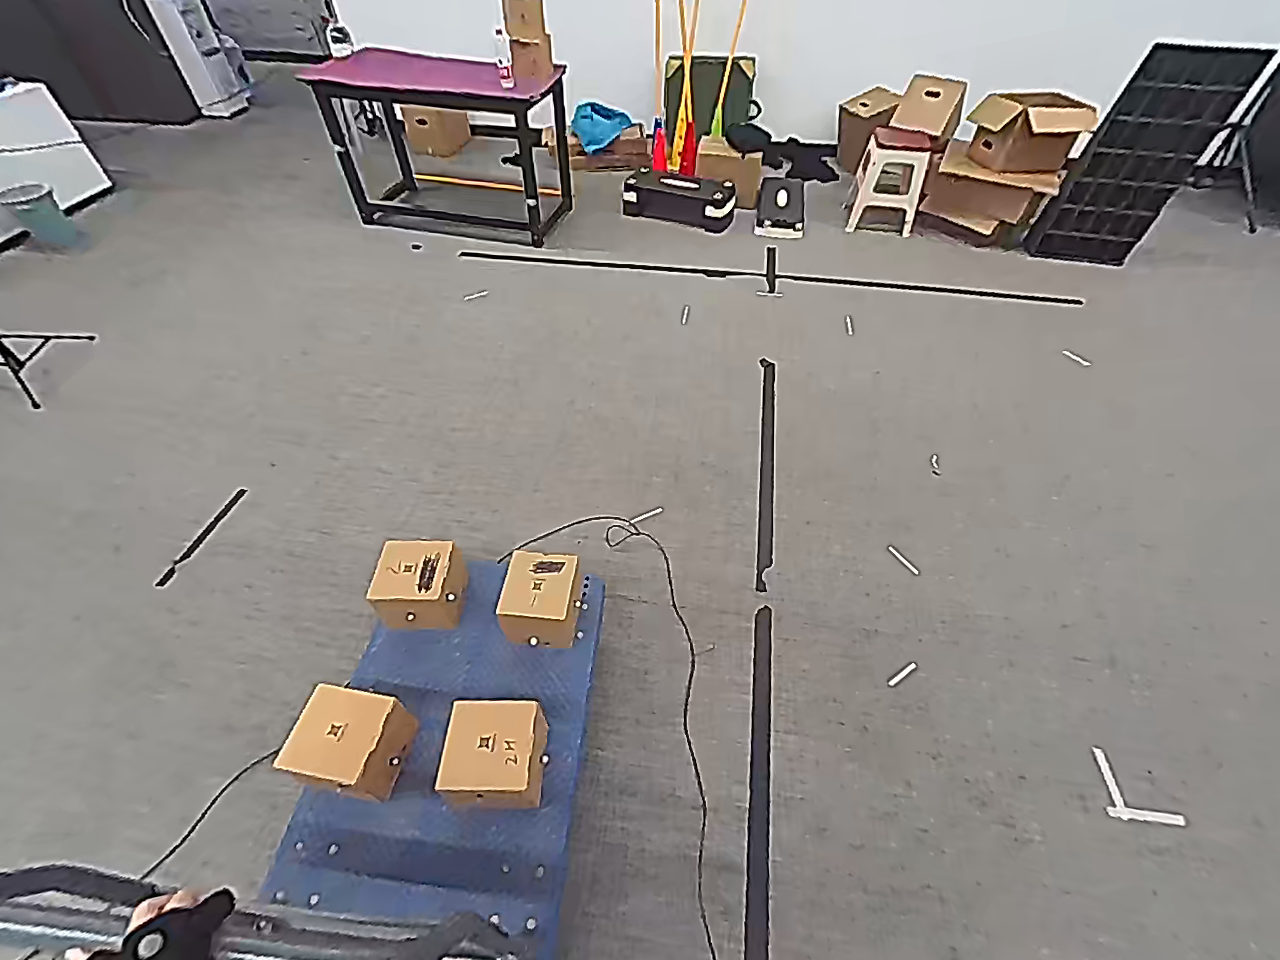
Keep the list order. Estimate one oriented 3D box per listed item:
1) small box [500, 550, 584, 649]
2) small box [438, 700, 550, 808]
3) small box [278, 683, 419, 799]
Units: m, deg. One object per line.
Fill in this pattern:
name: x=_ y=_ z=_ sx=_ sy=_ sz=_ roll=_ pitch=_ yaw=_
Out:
small box: x=-0.235 y=0.300 z=1.354 sx=0.168 sy=0.176 sz=0.179 roll=5 pitch=51 yaw=4
small box: x=-0.291 y=0.570 z=1.121 sx=0.179 sy=0.176 sz=0.168 roll=1 pitch=49 yaw=0
small box: x=-0.598 y=0.551 z=1.136 sx=0.179 sy=0.176 sz=0.168 roll=8 pitch=50 yaw=5
